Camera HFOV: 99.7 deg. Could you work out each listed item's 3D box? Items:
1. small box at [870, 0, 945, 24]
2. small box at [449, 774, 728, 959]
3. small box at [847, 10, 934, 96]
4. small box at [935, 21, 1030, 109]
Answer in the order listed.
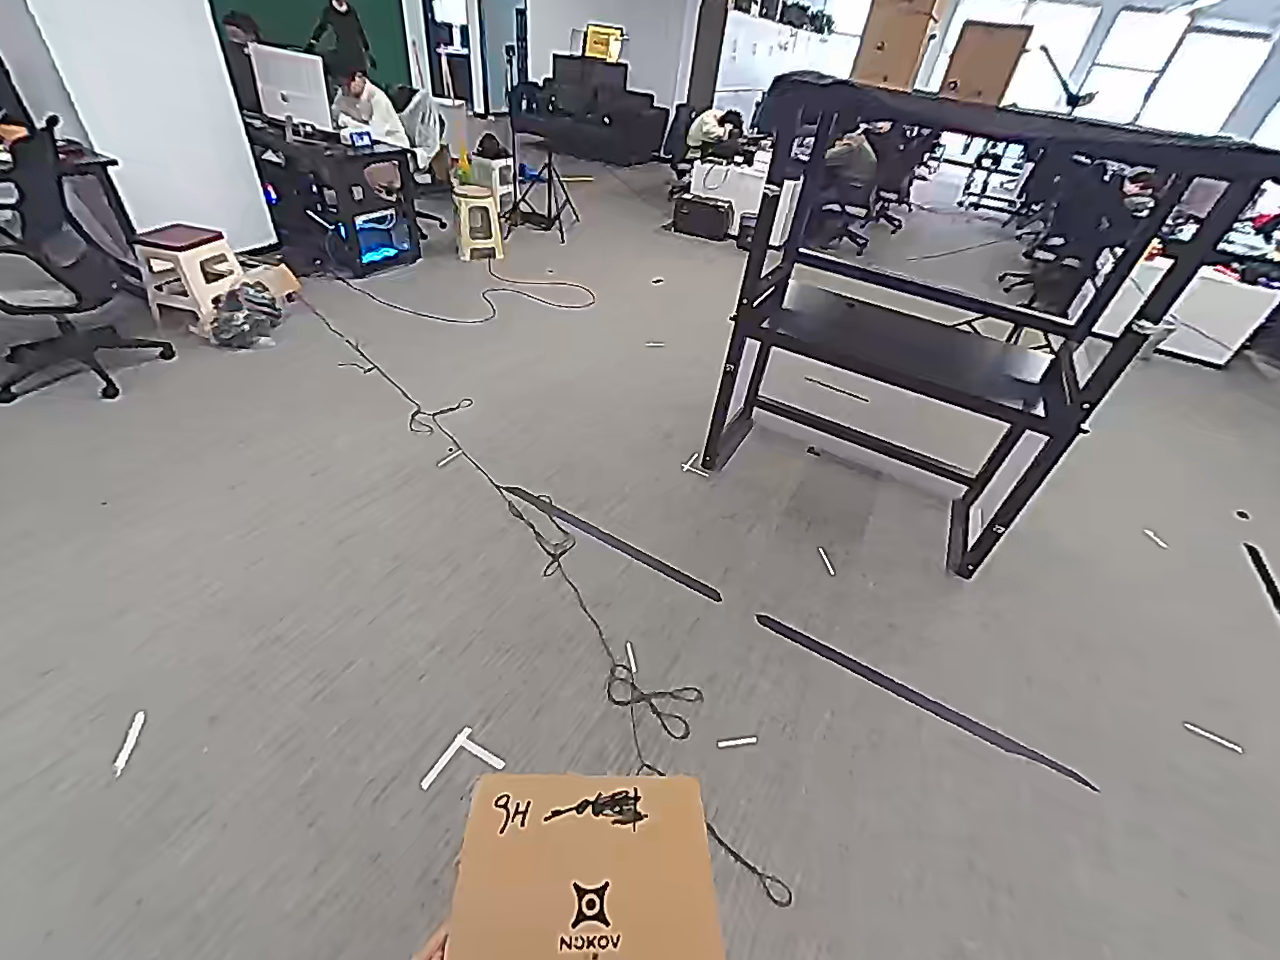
[{"bbox_3d":[0.729,-1.325,1.427,0.168,0.176,0.179,24,40,20],"label":"small box"},{"bbox_3d":[-0.040,0.332,0.373,0.168,0.176,0.179,5,36,-8],"label":"small box"},{"bbox_3d":[0.703,-1.199,1.527,0.168,0.176,0.179,24,39,17],"label":"small box"},{"bbox_3d":[0.926,-1.120,1.468,0.168,0.176,0.179,25,39,20],"label":"small box"}]
